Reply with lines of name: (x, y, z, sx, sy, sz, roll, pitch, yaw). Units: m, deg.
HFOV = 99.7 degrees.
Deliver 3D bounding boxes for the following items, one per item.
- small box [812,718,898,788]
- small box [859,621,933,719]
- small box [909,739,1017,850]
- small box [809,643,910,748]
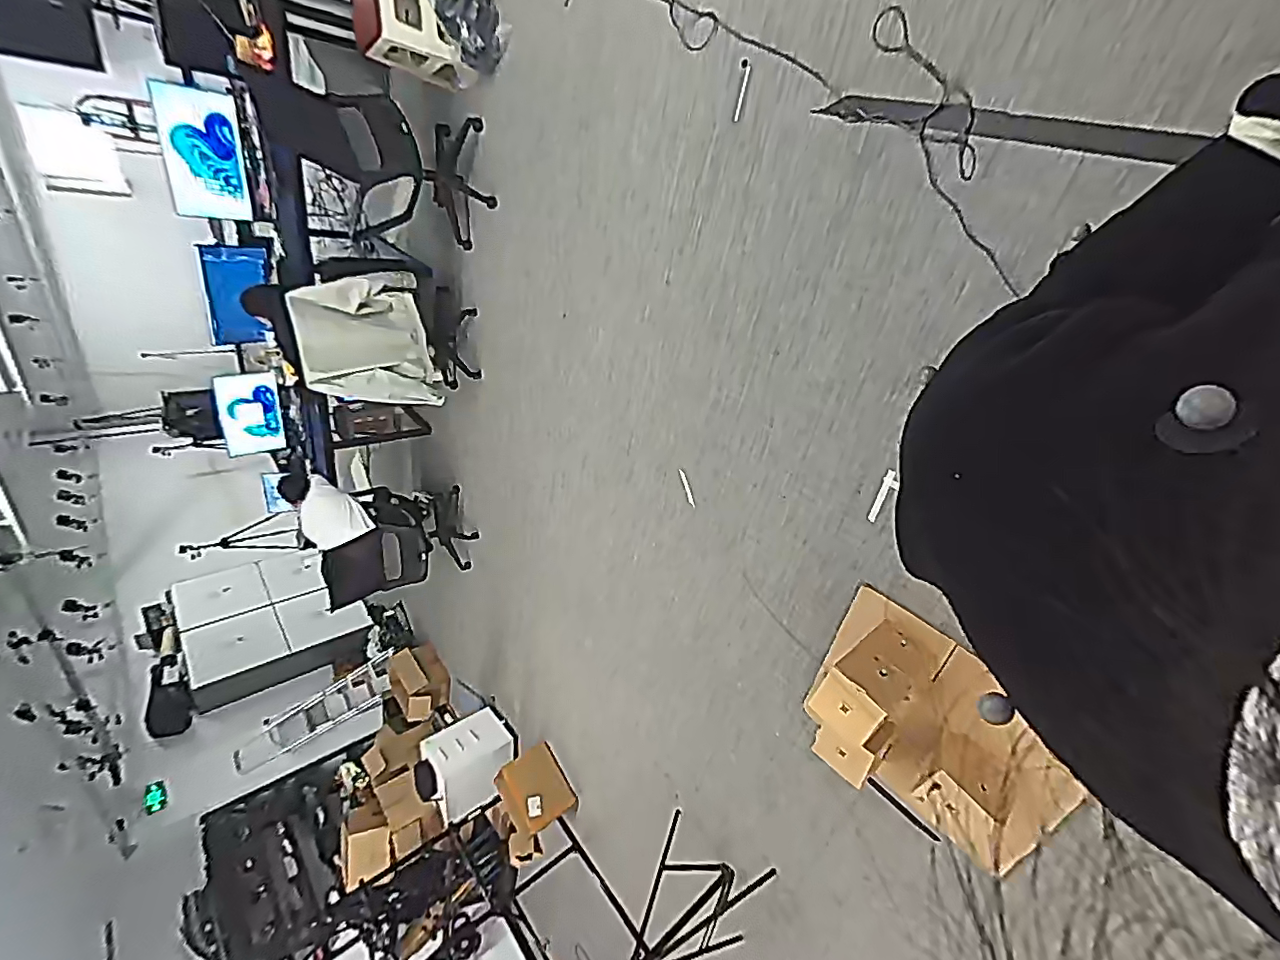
small box: (0.687, 0.825, 1.729, 0.179, 0.176, 0.168, 32, 126, 39)
small box: (0.726, 0.552, 1.589, 0.168, 0.176, 0.179, 36, 127, 35)
small box: (0.895, 0.863, 1.494, 0.179, 0.176, 0.168, 44, 131, 29)
small box: (0.604, 0.586, 1.486, 0.168, 0.176, 0.179, 40, 129, 34)
